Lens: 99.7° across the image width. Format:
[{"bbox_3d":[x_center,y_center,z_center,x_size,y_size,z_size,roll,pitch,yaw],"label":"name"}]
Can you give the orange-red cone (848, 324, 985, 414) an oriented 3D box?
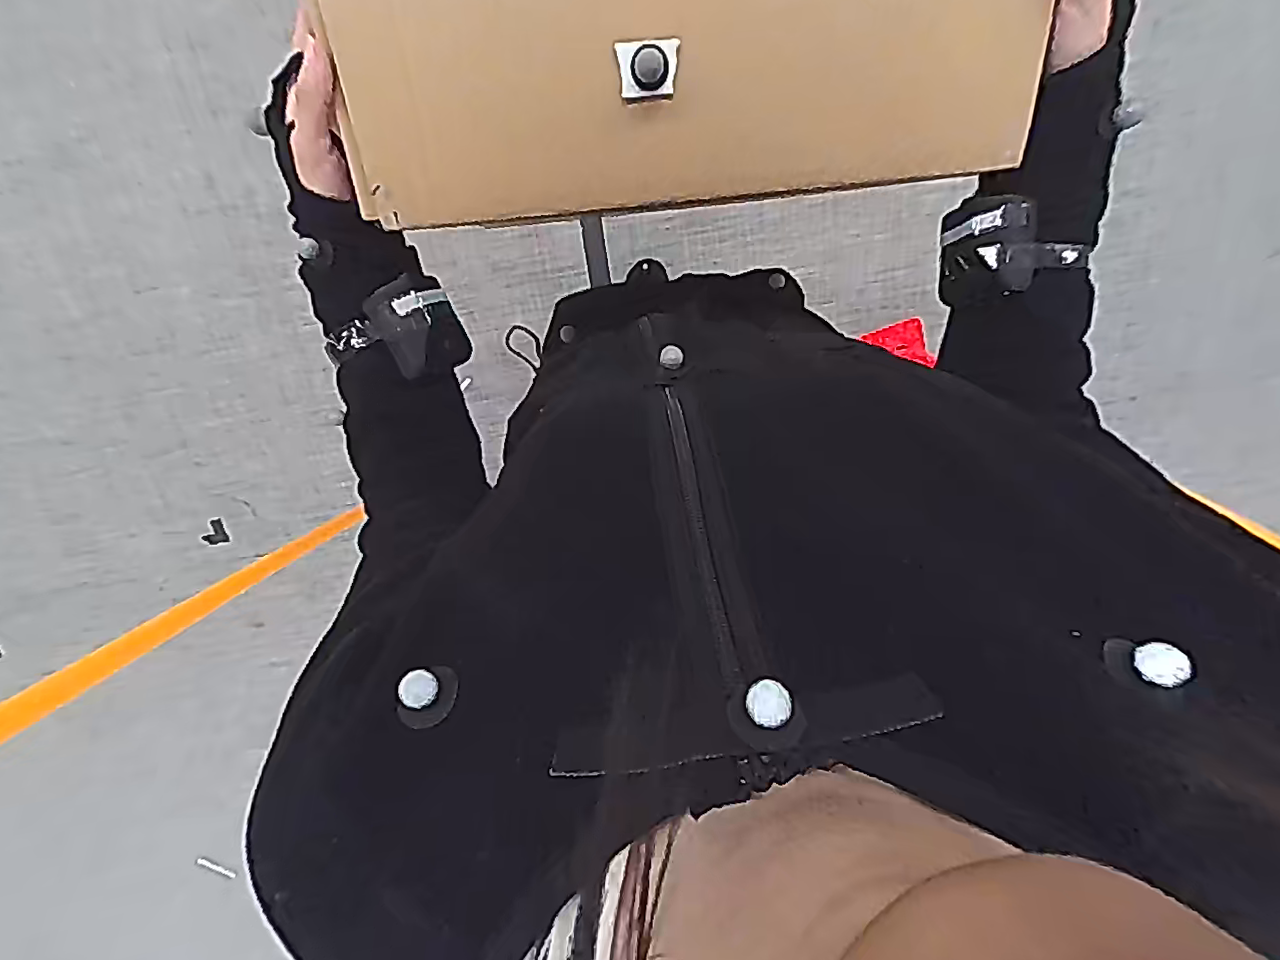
[{"bbox_3d":[0.648,-0.225,1.221,0.199,0.360,0.198,-18,110,2],"label":"orange-red cone"}]
